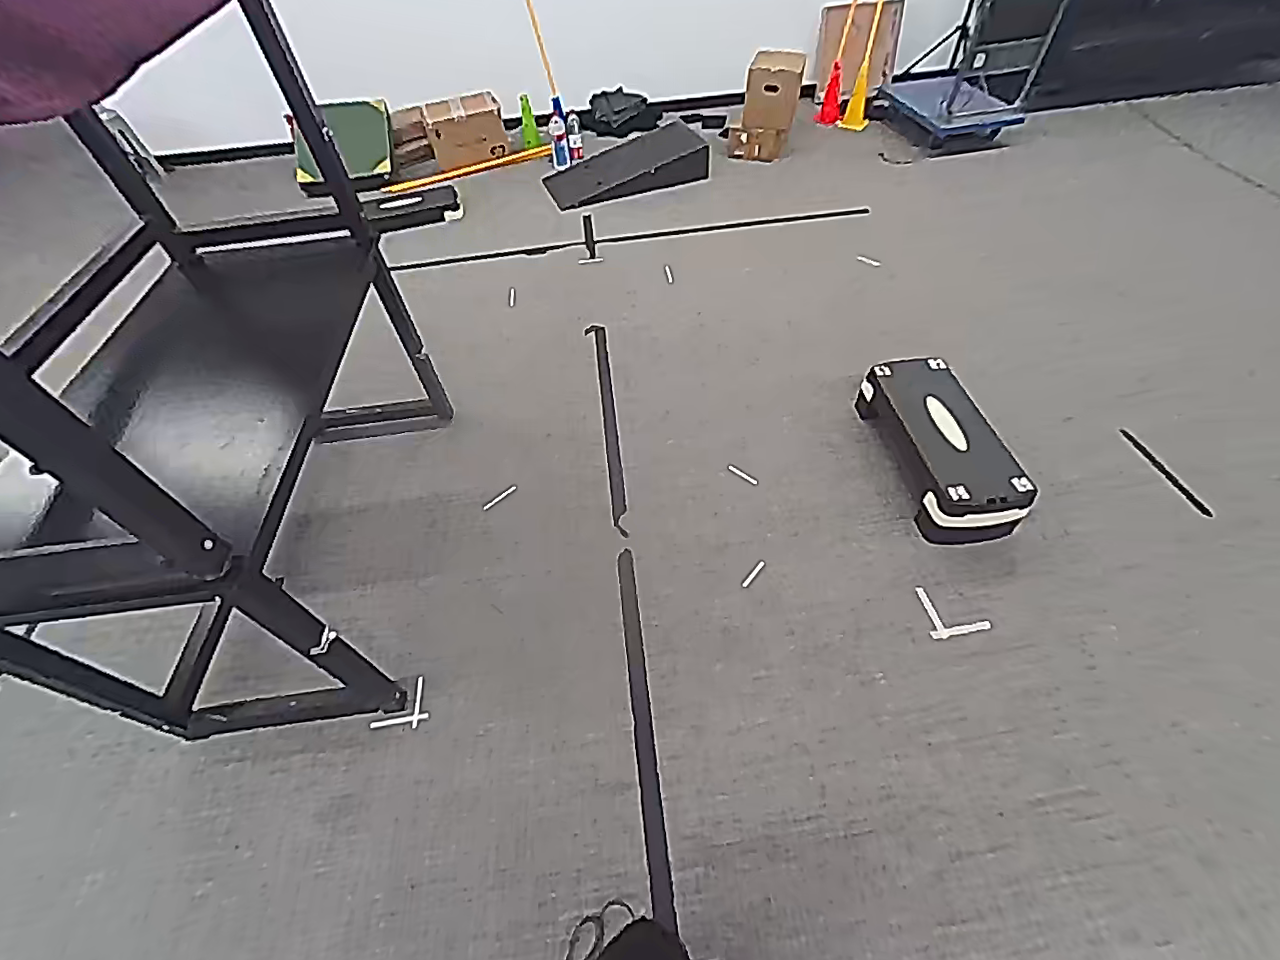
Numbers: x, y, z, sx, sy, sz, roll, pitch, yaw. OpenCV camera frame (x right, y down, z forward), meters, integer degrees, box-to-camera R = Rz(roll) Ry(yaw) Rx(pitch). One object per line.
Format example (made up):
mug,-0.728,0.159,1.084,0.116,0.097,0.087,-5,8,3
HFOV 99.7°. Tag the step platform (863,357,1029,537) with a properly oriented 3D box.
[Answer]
step platform,1.001,-0.143,1.831,0.286,0.204,0.684,-3,49,2
